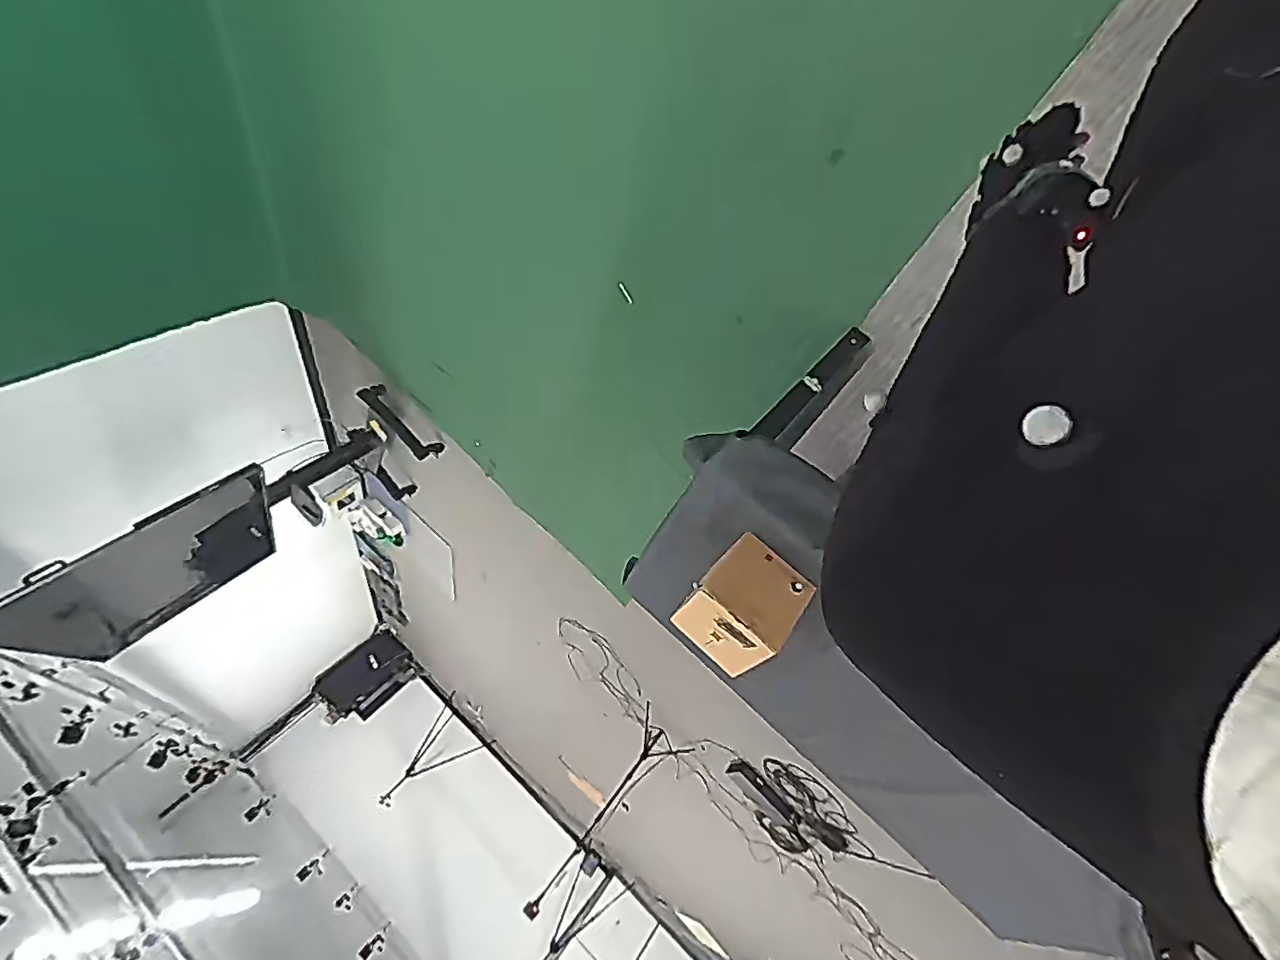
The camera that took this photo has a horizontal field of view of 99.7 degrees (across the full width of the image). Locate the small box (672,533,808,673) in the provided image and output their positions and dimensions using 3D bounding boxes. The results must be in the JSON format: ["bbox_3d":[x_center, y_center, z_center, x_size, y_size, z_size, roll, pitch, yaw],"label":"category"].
[{"bbox_3d":[0.195,0.232,1.033,0.168,0.176,0.179,40,145,9],"label":"small box"}]
